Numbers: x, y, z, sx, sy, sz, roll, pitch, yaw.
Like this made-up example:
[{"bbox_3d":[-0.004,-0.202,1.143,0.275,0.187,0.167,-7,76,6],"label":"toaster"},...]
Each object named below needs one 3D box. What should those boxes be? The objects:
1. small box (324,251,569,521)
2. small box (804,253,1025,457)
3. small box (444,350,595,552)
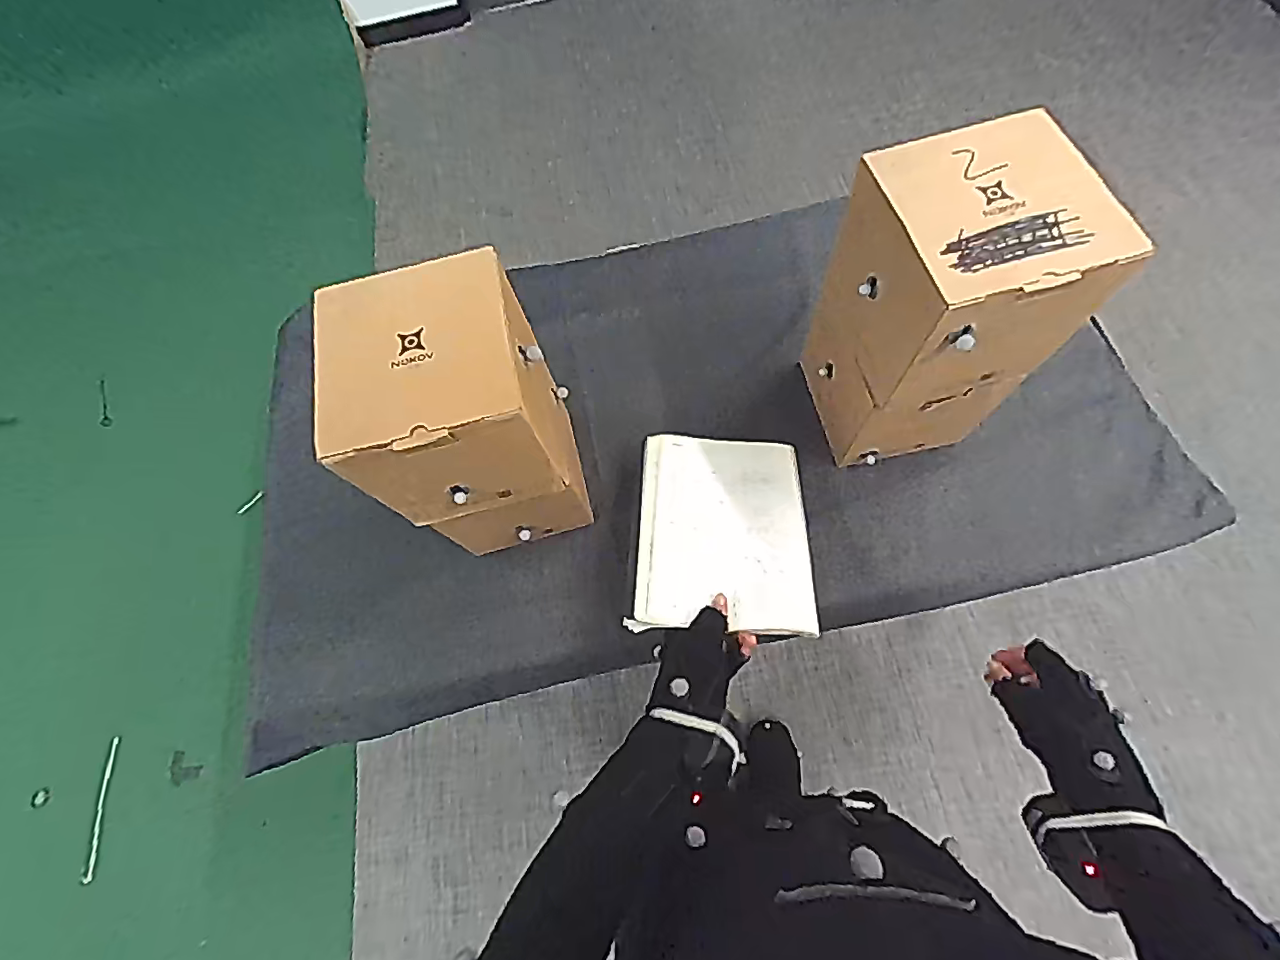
[{"bbox_3d":[-0.176,-0.081,0.525,0.168,0.176,0.179,-14,68,-1],"label":"small box"},{"bbox_3d":[0.320,-0.141,0.674,0.168,0.176,0.179,-12,67,1],"label":"small box"},{"bbox_3d":[-0.163,-0.029,0.678,0.168,0.176,0.179,-16,68,0],"label":"small box"}]
